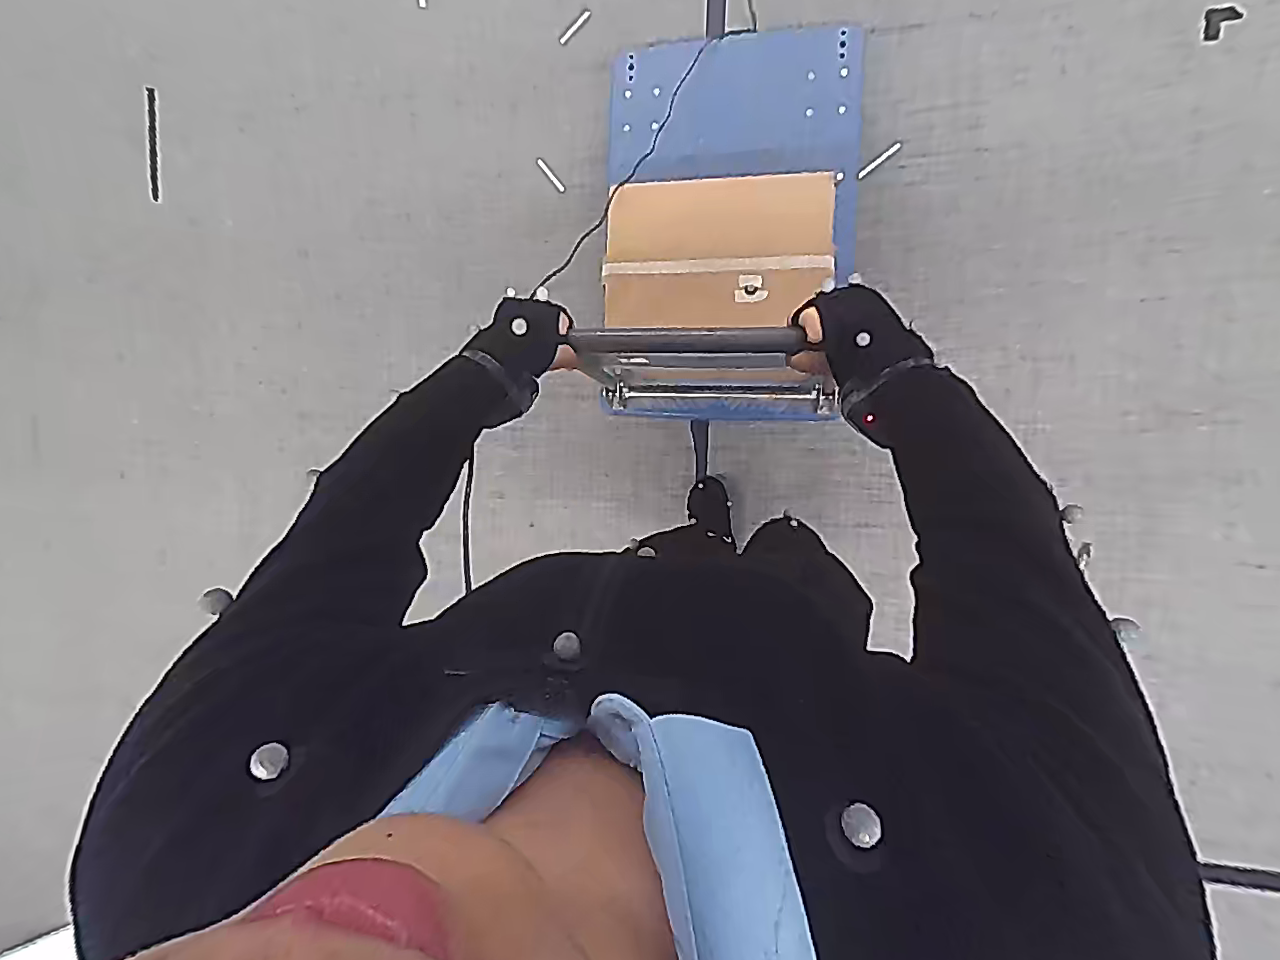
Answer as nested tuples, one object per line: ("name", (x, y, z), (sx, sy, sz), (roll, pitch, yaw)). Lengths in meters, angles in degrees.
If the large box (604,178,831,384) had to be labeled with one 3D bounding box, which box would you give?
("large box", (0.156, -0.378, 1.118), (0.408, 0.320, 0.320), (2, 93, 10))
